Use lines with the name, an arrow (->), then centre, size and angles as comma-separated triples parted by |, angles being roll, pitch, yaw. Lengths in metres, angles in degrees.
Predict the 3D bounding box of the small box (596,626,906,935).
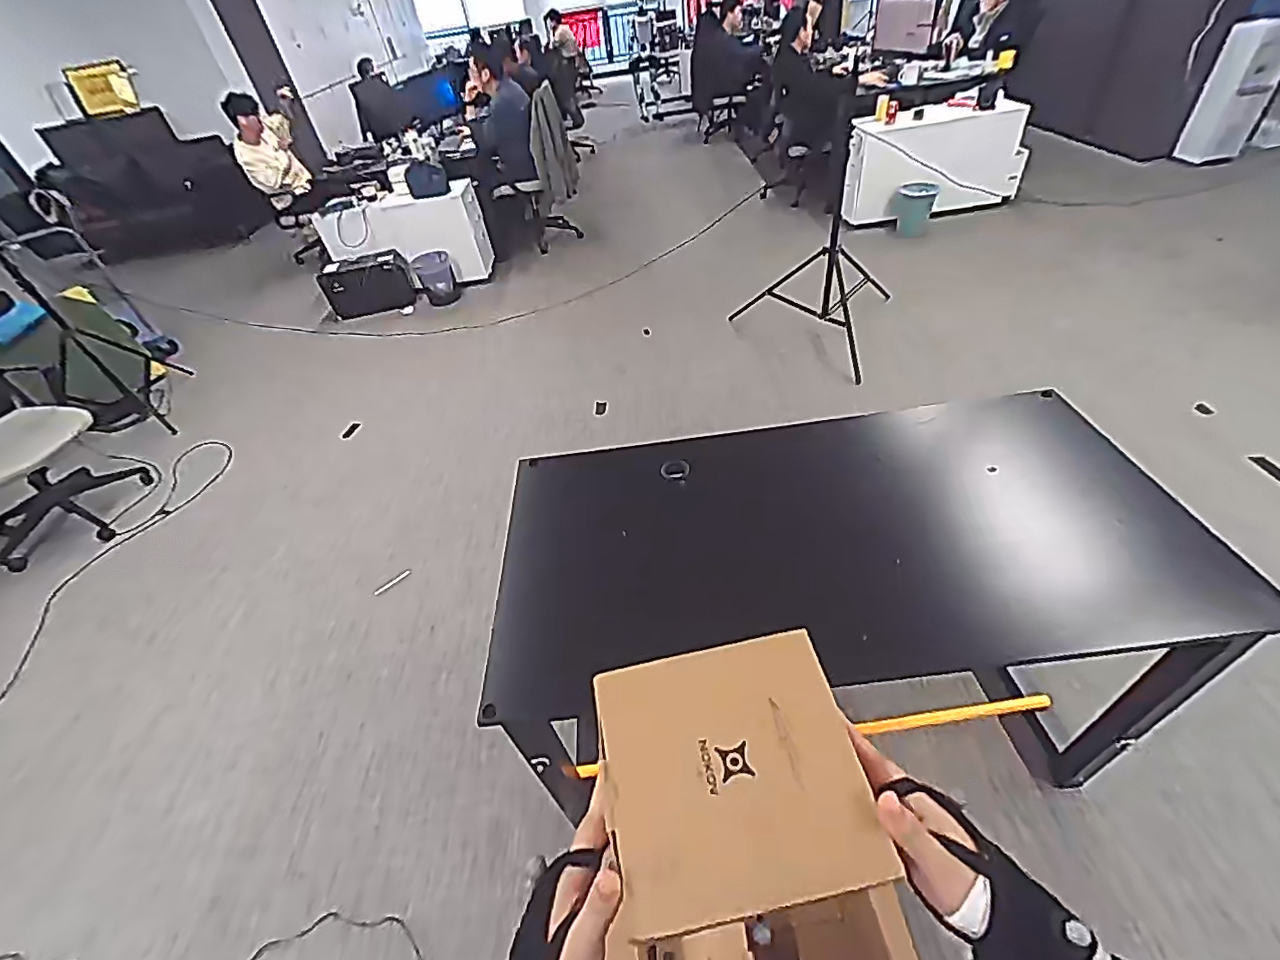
small box -> 0.071, 0.243, 0.433 | 0.179, 0.176, 0.168 | -11, 51, -3
